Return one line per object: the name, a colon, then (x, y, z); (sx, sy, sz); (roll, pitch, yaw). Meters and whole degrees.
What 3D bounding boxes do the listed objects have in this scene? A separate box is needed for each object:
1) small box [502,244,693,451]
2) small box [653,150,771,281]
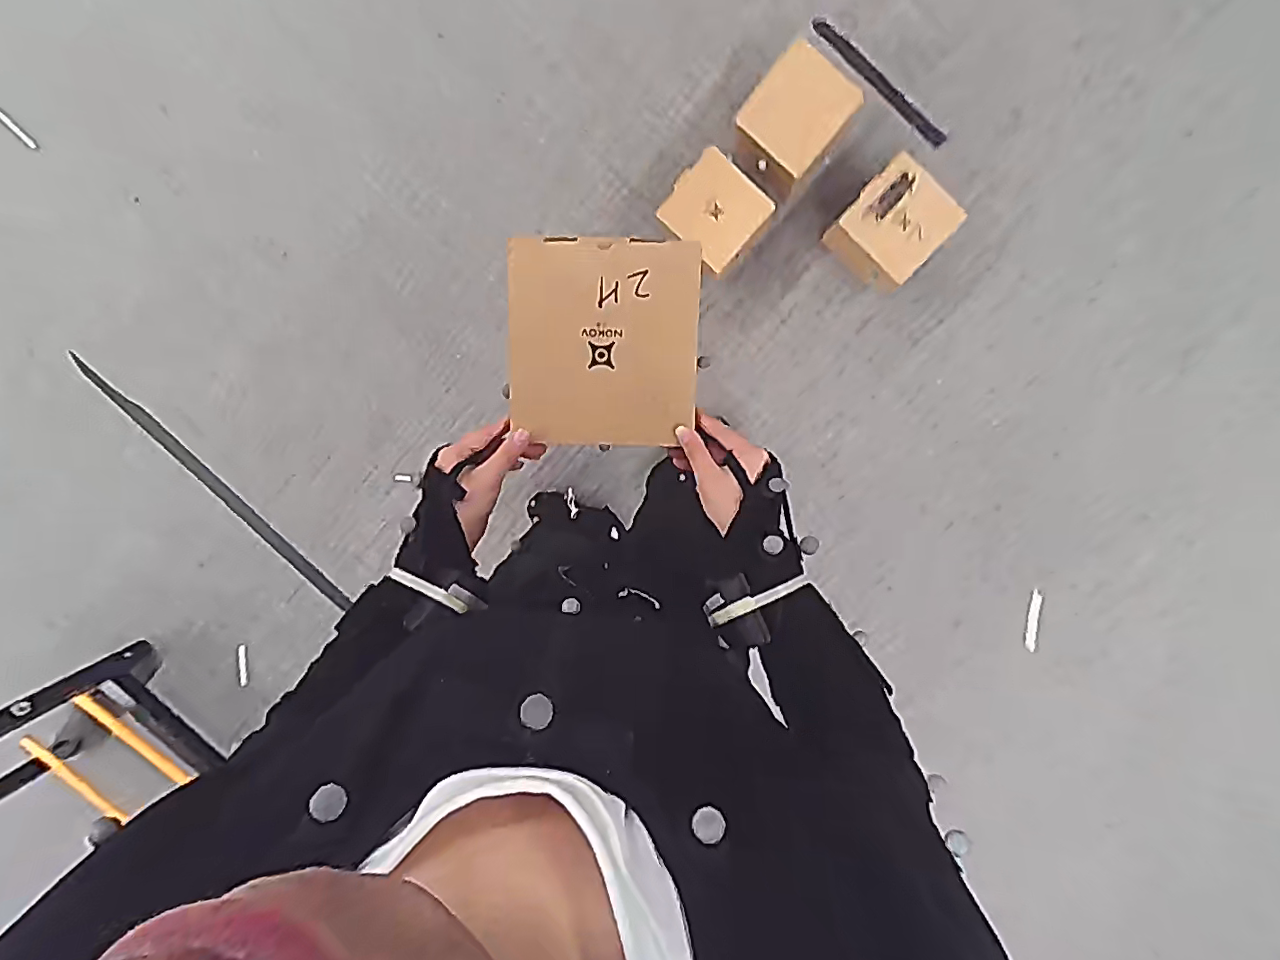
small box: (-0.035, -0.128, 0.550); (0.168, 0.176, 0.179); (1, 100, 1)
small box: (0.152, -0.545, 1.147); (0.179, 0.176, 0.168); (43, 104, -2)
